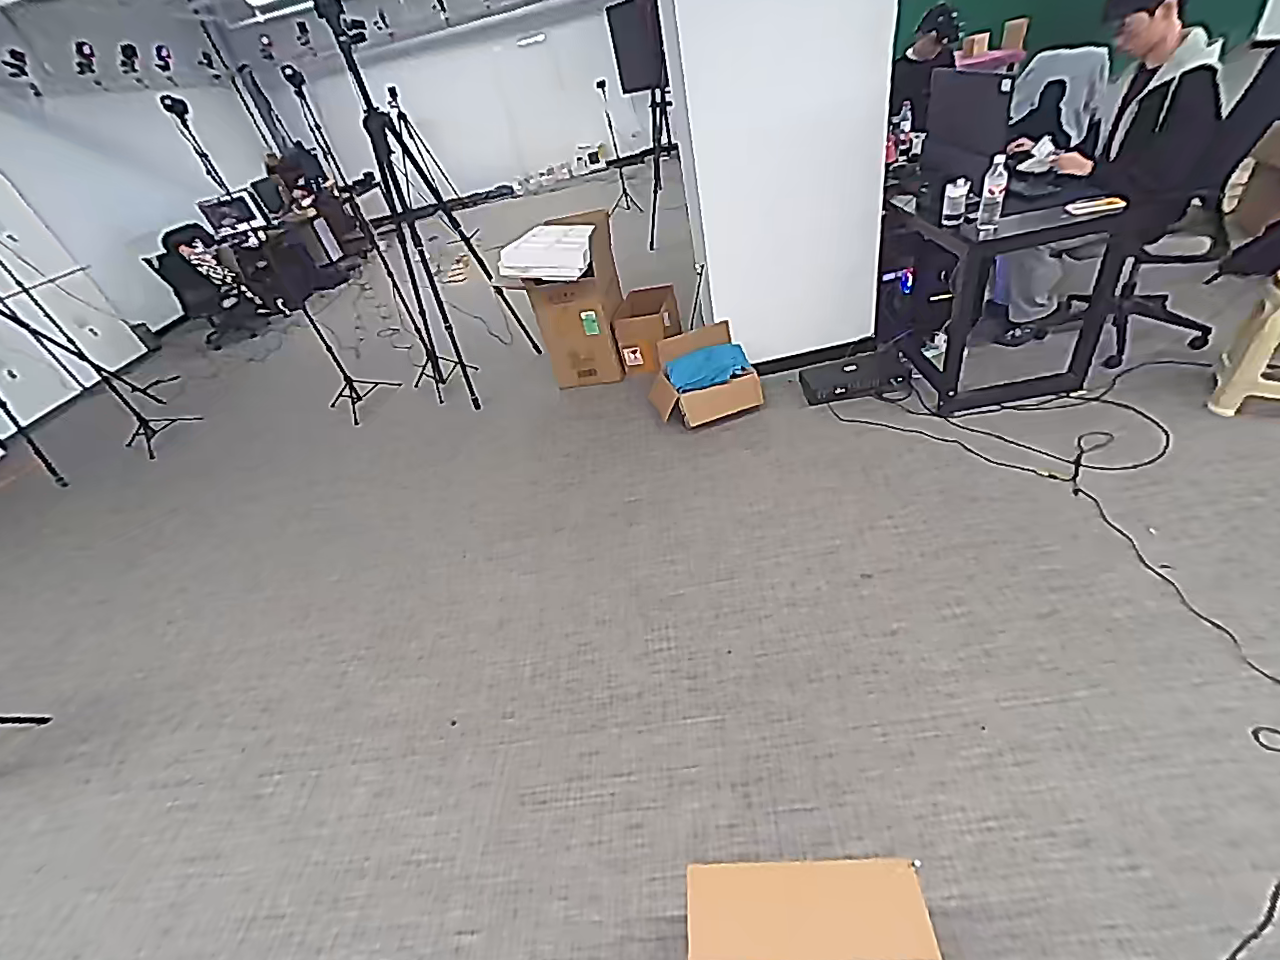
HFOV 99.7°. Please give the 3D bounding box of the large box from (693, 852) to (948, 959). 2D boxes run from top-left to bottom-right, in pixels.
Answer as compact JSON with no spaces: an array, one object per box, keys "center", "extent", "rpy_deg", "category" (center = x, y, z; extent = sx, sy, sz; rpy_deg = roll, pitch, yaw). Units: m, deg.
[{"center":[0.320,0.903,0.962],"extent":[0.408,0.320,0.320],"rpy_deg":[-8,38,9],"category":"large box"}]
